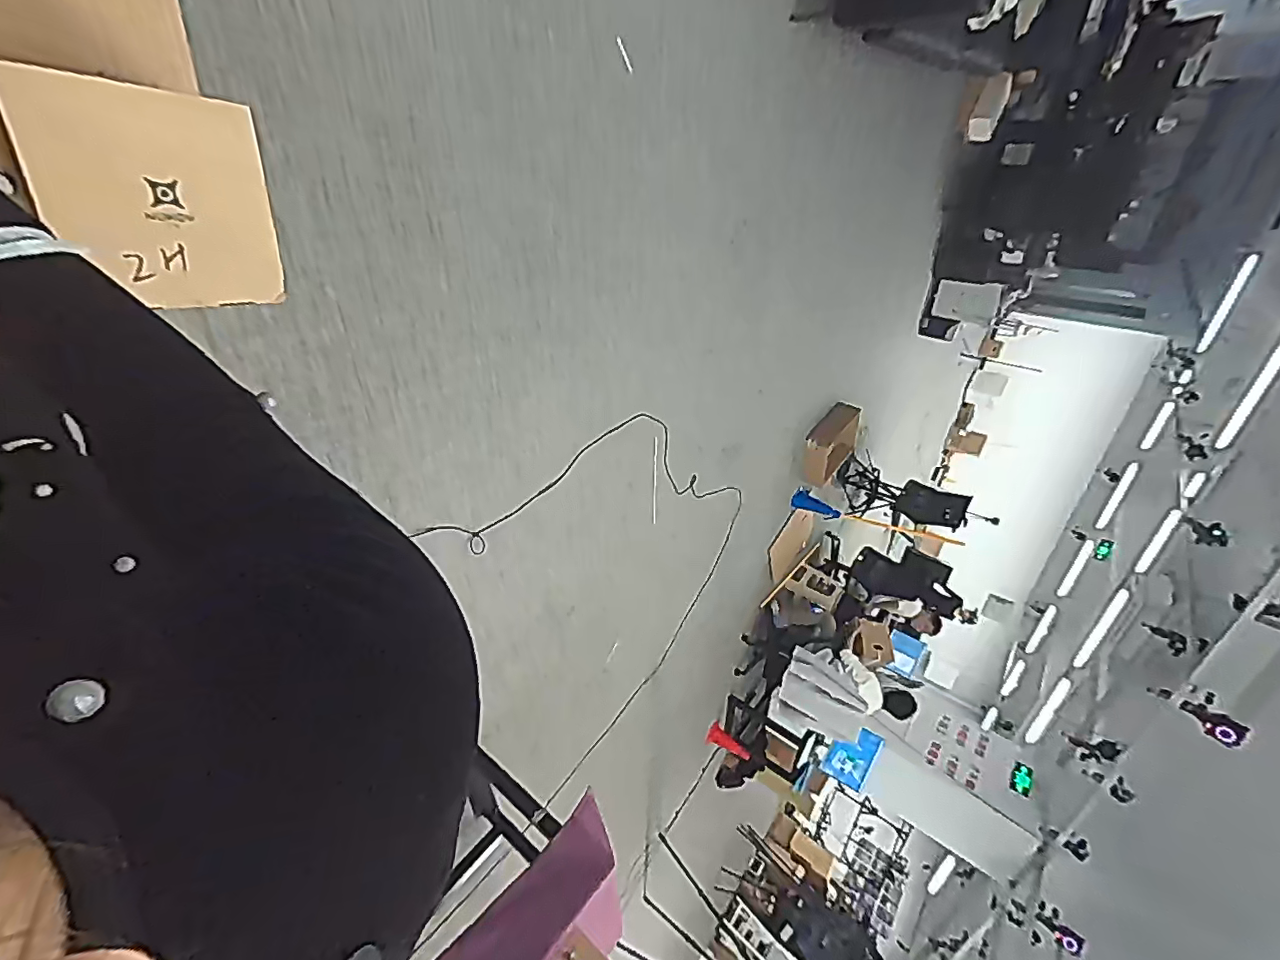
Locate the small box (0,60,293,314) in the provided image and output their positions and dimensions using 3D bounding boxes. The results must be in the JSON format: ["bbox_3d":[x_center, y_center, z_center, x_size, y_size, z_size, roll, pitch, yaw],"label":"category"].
[{"bbox_3d":[-0.469,-0.263,0.512,0.168,0.176,0.179,-26,129,-47],"label":"small box"}]

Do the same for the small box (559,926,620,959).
[{"bbox_3d":[-0.146,1.439,1.544,0.168,0.176,0.179,-31,133,-43],"label":"small box"}]
